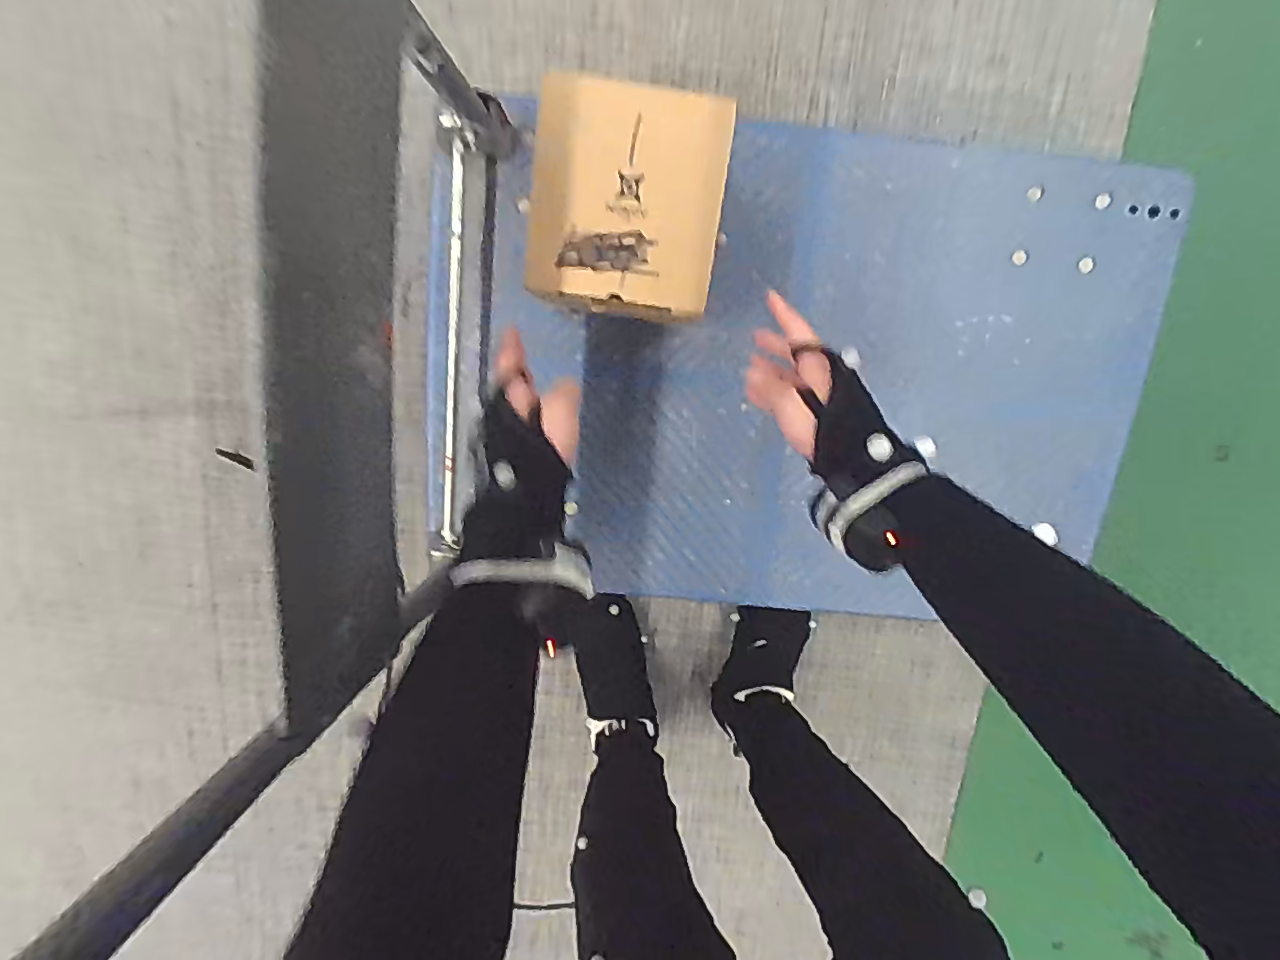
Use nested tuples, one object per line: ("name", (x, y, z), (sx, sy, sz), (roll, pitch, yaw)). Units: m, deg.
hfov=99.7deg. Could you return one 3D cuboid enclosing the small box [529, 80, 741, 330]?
("small box", (-0.007, -0.253, 0.545), (0.168, 0.176, 0.179), (8, 101, -2))
